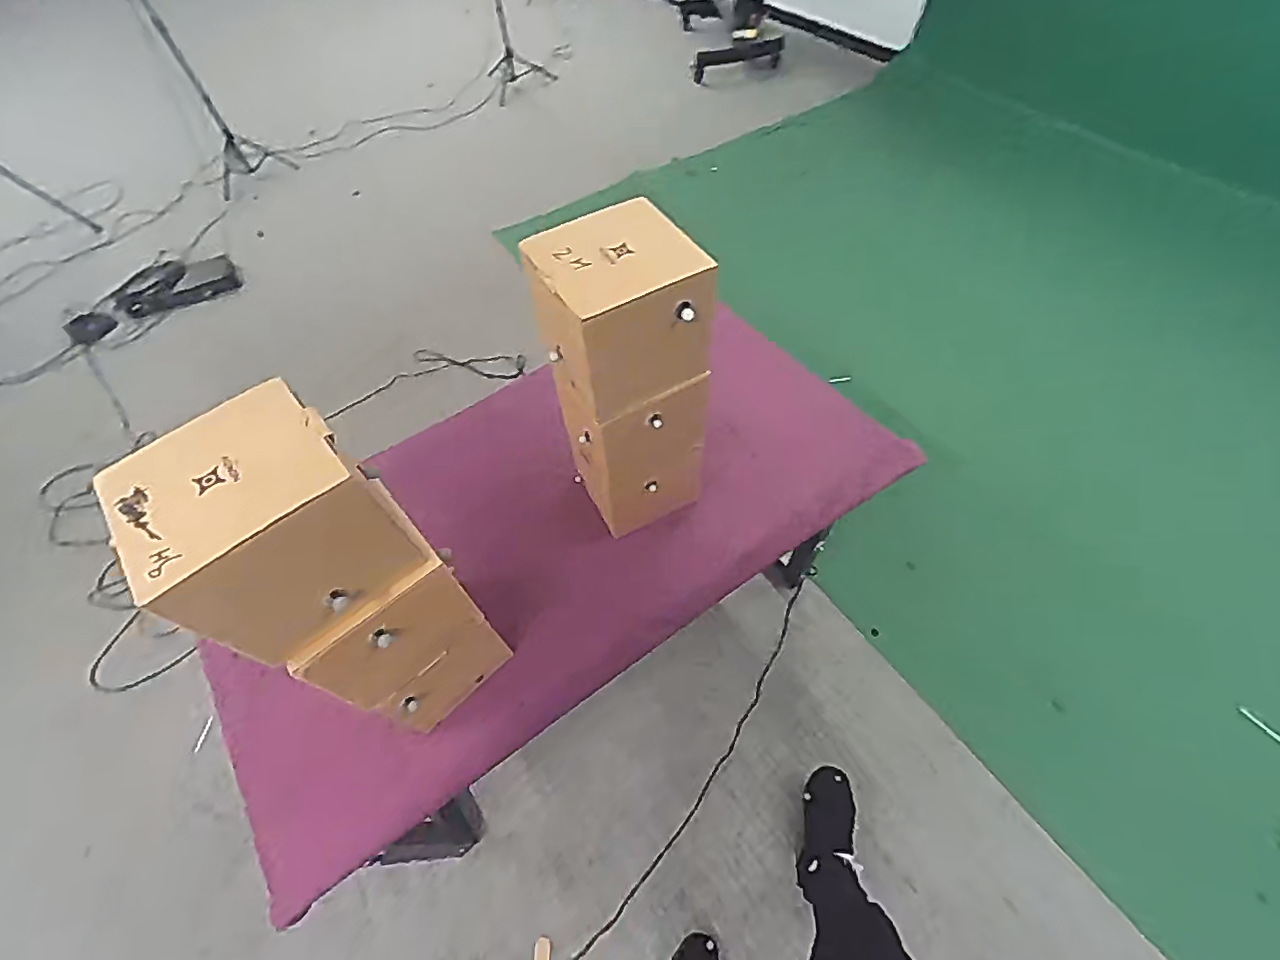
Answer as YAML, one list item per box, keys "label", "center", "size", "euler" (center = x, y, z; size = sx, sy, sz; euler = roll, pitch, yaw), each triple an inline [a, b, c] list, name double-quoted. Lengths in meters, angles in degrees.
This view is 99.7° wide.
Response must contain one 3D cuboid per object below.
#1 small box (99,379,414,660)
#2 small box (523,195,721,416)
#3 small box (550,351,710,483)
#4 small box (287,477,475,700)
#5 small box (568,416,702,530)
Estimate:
- label: "small box"
  center: [-0.350, 0.042, 0.529]
  size: [0.179, 0.176, 0.168]
  euler: [-37, 61, -19]
- label: "small box"
  center: [-0.022, -0.214, 0.677]
  size: [0.179, 0.176, 0.168]
  euler: [-27, 60, -14]
- label: "small box"
  center: [-0.012, -0.123, 0.814]
  size: [0.179, 0.176, 0.168]
  euler: [-26, 61, -13]
- label: "small box"
  center: [-0.324, 0.136, 0.662]
  size: [0.179, 0.176, 0.168]
  euler: [-38, 62, -19]
- label: "small box"
  center: [-0.006, -0.038, 0.953]
  size: [0.179, 0.176, 0.168]
  euler: [-25, 60, -14]
